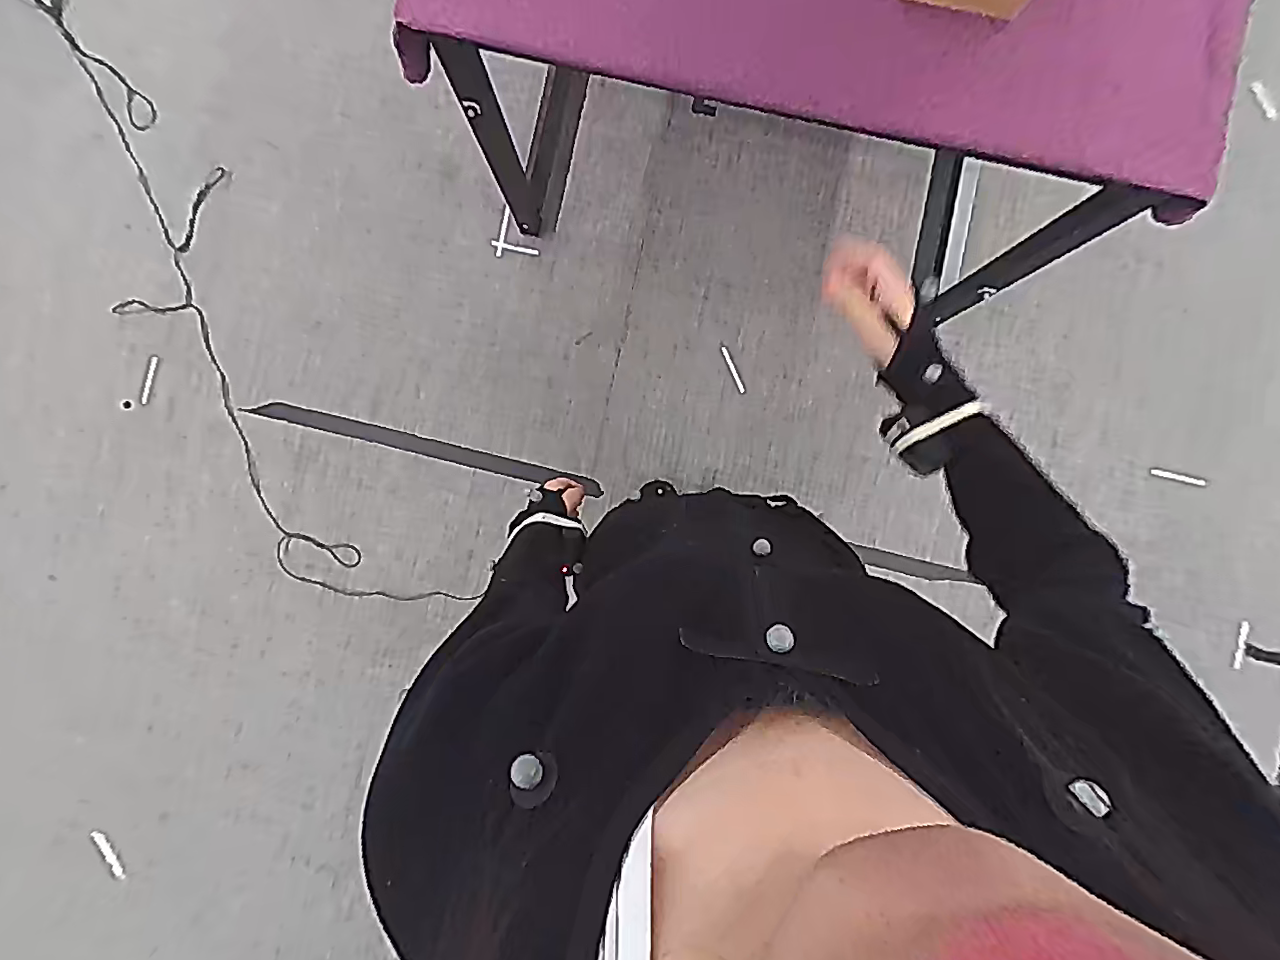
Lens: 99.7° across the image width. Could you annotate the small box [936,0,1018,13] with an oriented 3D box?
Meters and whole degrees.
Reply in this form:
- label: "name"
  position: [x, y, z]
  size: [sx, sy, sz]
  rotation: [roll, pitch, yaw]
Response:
- label: "small box"
  position: [0.473, -0.763, 0.701]
  size: [0.179, 0.176, 0.168]
  rotation: [12, 89, 1]
